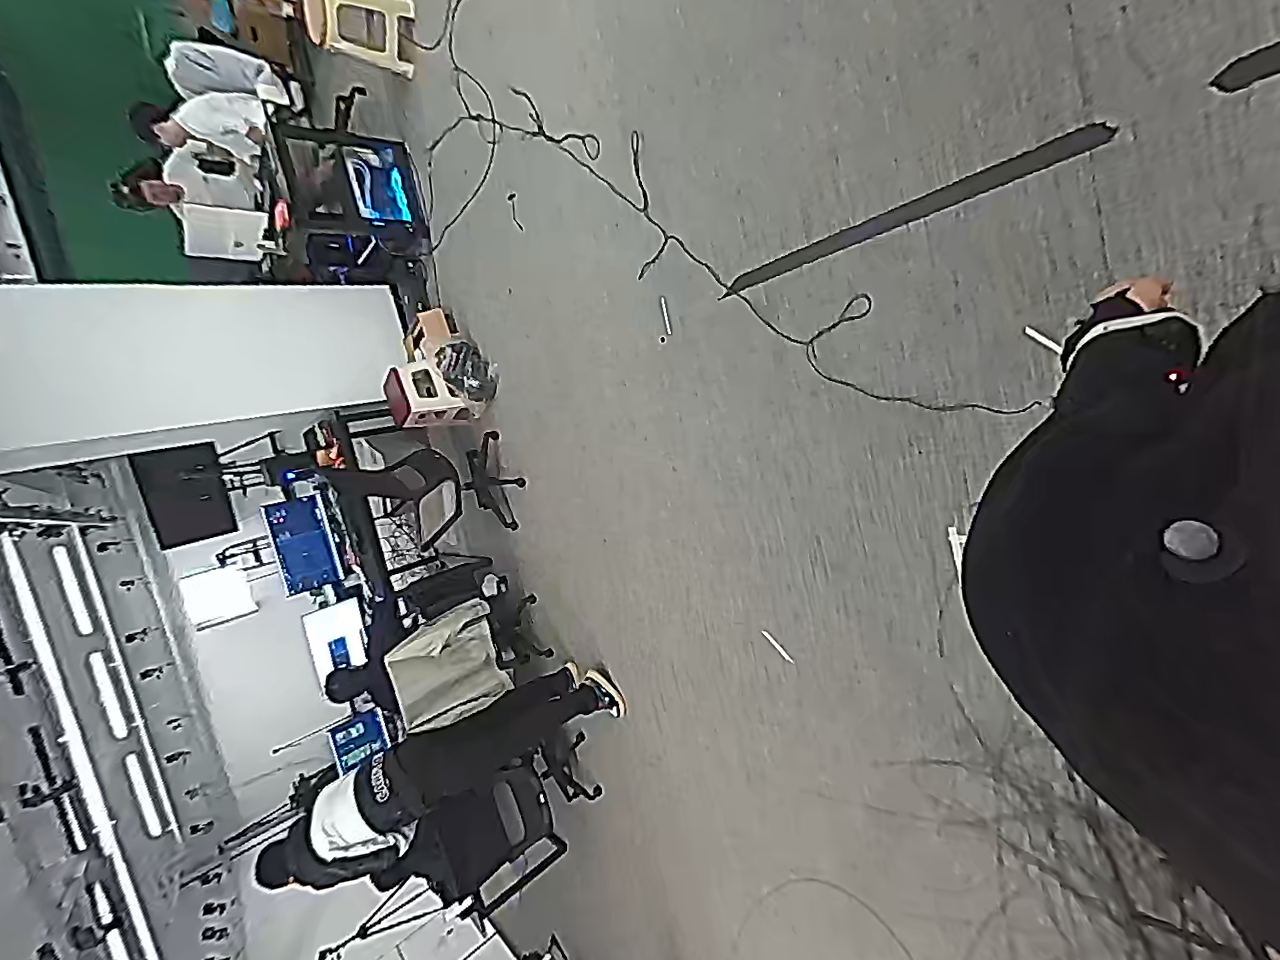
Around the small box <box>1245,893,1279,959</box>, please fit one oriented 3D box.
[{"bbox_3d":[1.344,0.988,1.080,0.168,0.176,0.179,-8,97,52],"label":"small box"}]
